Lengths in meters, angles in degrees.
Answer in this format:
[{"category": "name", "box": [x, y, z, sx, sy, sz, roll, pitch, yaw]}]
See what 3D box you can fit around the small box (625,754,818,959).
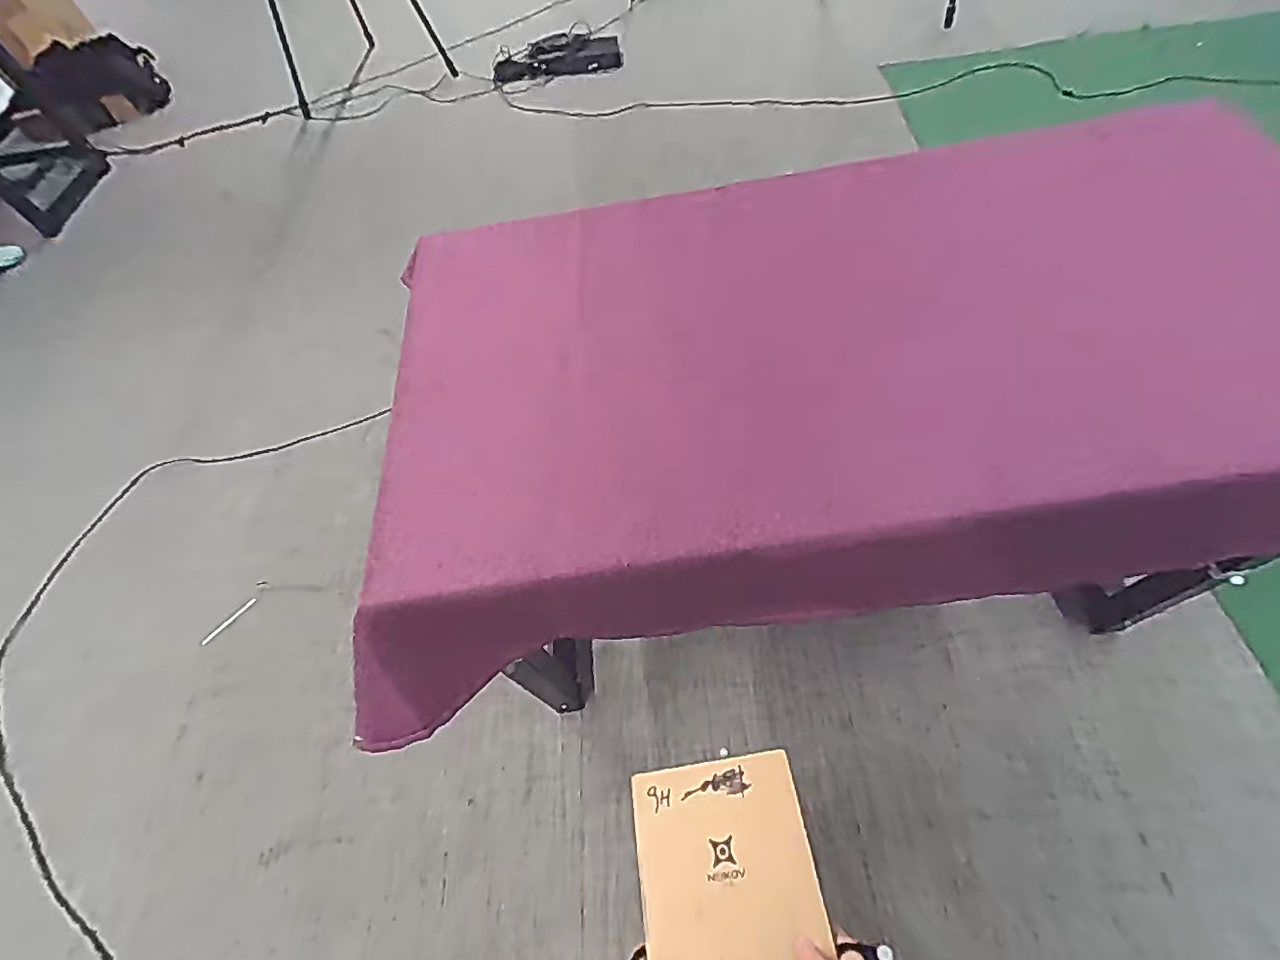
[{"category": "small box", "box": [0.090, 0.415, 0.586, 0.168, 0.176, 0.179, -14, 52, 9]}]
